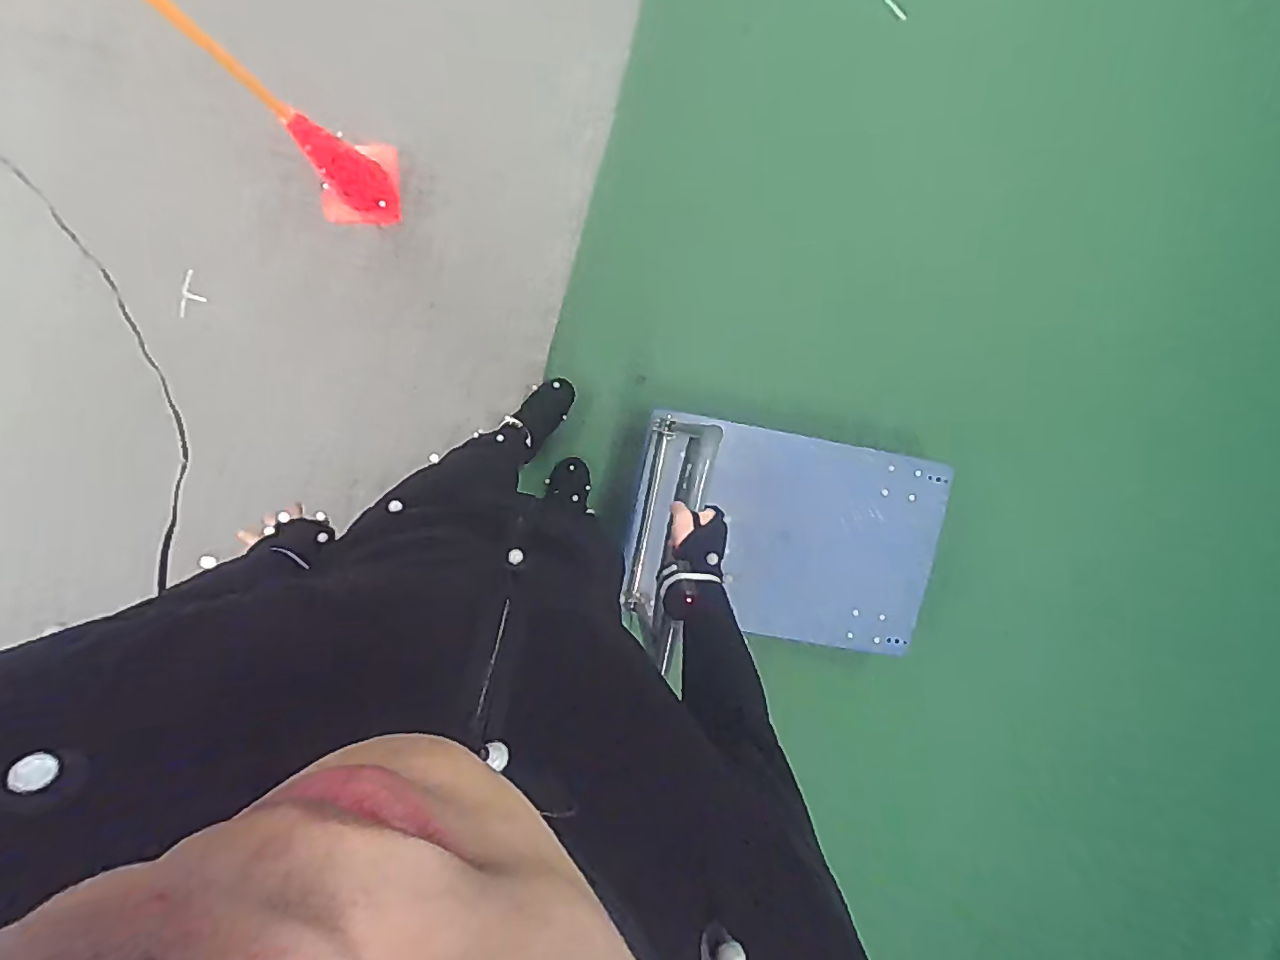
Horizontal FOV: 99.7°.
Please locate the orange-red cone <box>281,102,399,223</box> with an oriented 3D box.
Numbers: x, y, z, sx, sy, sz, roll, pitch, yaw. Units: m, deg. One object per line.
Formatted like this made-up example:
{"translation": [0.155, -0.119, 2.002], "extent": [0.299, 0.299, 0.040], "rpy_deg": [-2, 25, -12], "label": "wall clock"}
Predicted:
{"translation": [-0.739, -0.784, 1.290], "extent": [0.198, 0.360, 0.199], "rpy_deg": [1, 96, -5], "label": "orange-red cone"}
